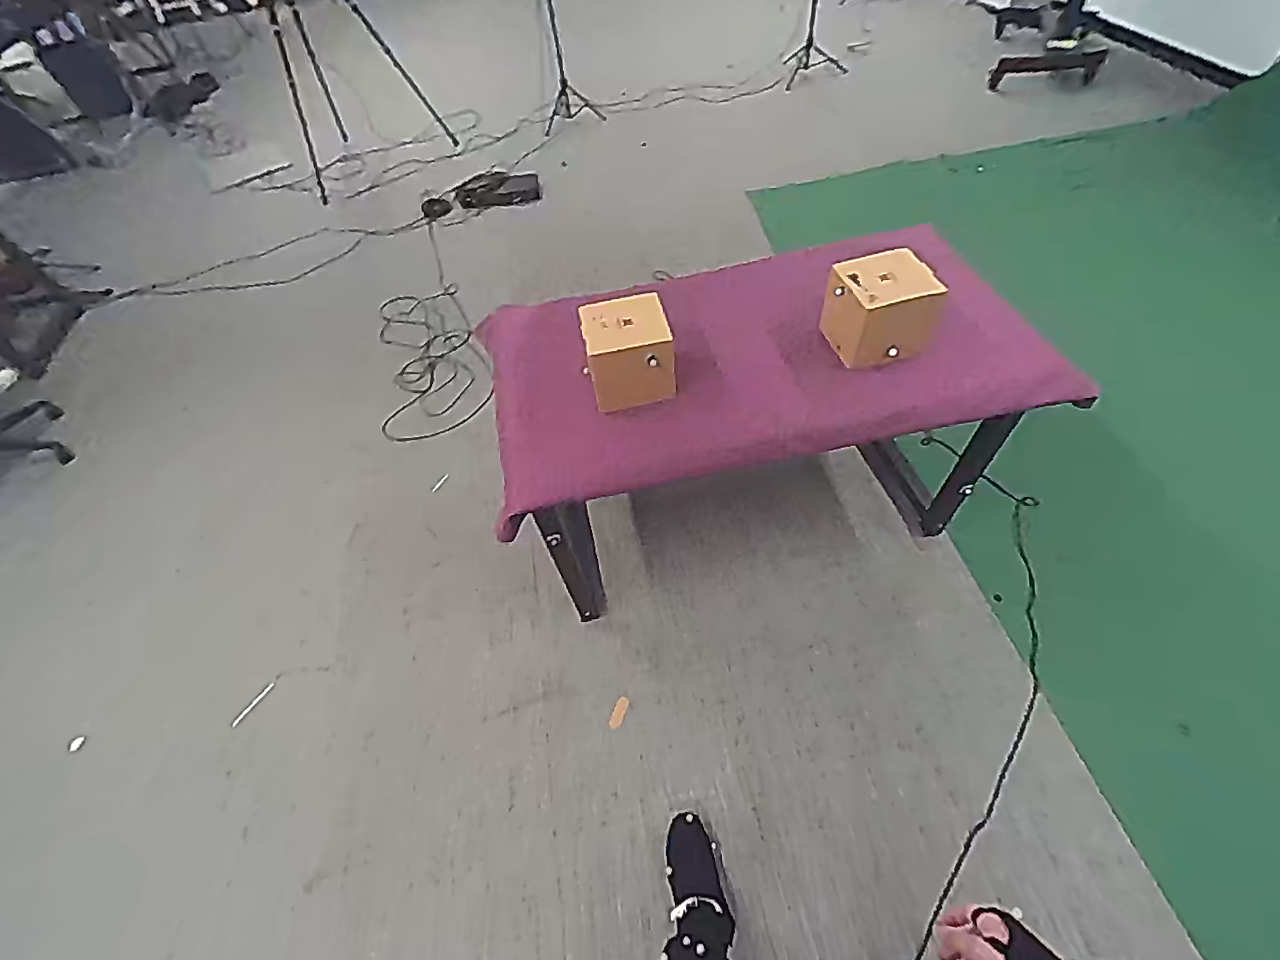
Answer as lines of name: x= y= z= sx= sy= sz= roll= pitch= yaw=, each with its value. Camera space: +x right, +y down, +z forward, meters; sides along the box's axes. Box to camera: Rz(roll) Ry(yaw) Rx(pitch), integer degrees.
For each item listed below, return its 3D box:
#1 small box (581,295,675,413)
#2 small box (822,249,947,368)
small box: x=-0.023 y=-0.273 z=1.186 sx=0.179 sy=0.176 sz=0.168 roll=-12 pitch=53 yaw=-2
small box: x=0.523 y=-0.373 z=1.186 sx=0.179 sy=0.176 sz=0.168 roll=-14 pitch=54 yaw=-2
